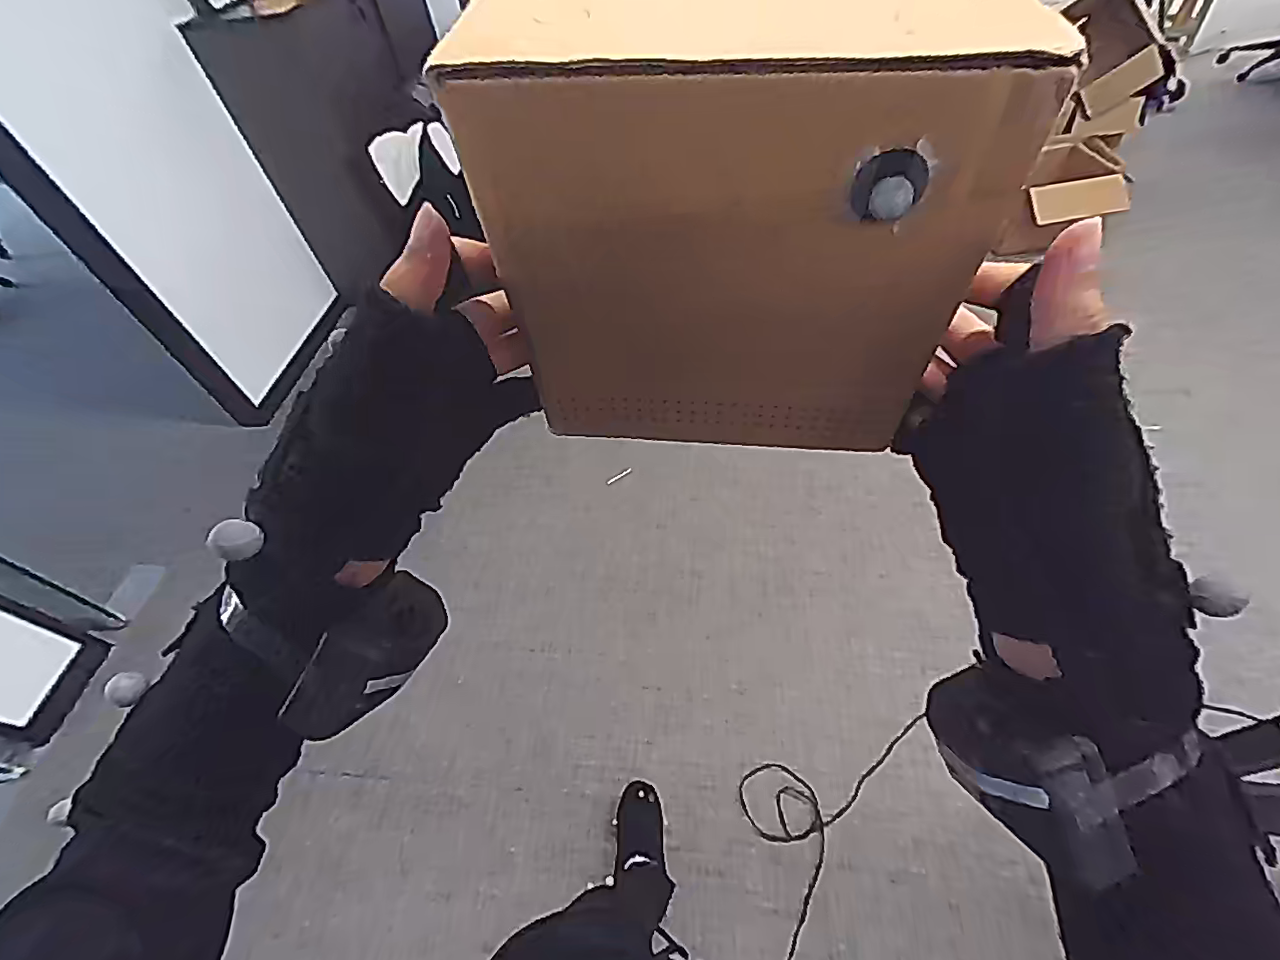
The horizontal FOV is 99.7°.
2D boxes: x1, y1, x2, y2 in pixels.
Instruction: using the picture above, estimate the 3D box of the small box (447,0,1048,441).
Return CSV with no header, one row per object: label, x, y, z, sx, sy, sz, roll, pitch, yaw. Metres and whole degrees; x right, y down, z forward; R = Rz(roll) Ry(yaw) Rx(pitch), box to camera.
small box,0.040,-0.134,0.265,0.179,0.176,0.168,4,57,6
